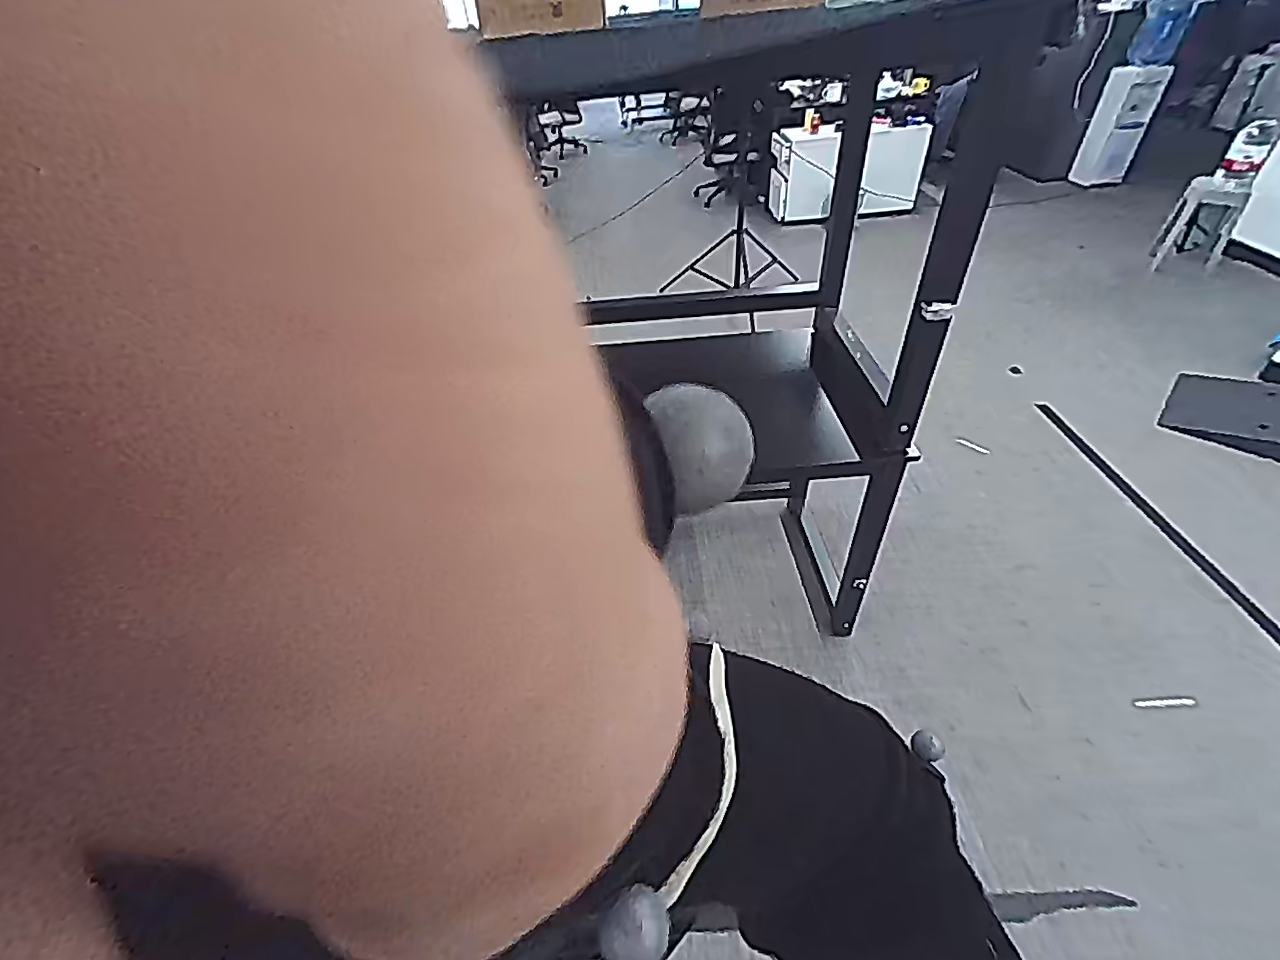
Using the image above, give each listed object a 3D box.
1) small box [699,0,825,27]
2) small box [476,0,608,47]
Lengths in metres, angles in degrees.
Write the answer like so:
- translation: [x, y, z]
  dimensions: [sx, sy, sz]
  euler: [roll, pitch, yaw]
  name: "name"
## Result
- translation: [0.163, -0.722, 0.721]
  dimensions: [0.168, 0.176, 0.179]
  euler: [1, 41, 8]
  name: "small box"
- translation: [-0.134, -0.694, 0.726]
  dimensions: [0.168, 0.176, 0.179]
  euler: [-5, 40, 1]
  name: "small box"
